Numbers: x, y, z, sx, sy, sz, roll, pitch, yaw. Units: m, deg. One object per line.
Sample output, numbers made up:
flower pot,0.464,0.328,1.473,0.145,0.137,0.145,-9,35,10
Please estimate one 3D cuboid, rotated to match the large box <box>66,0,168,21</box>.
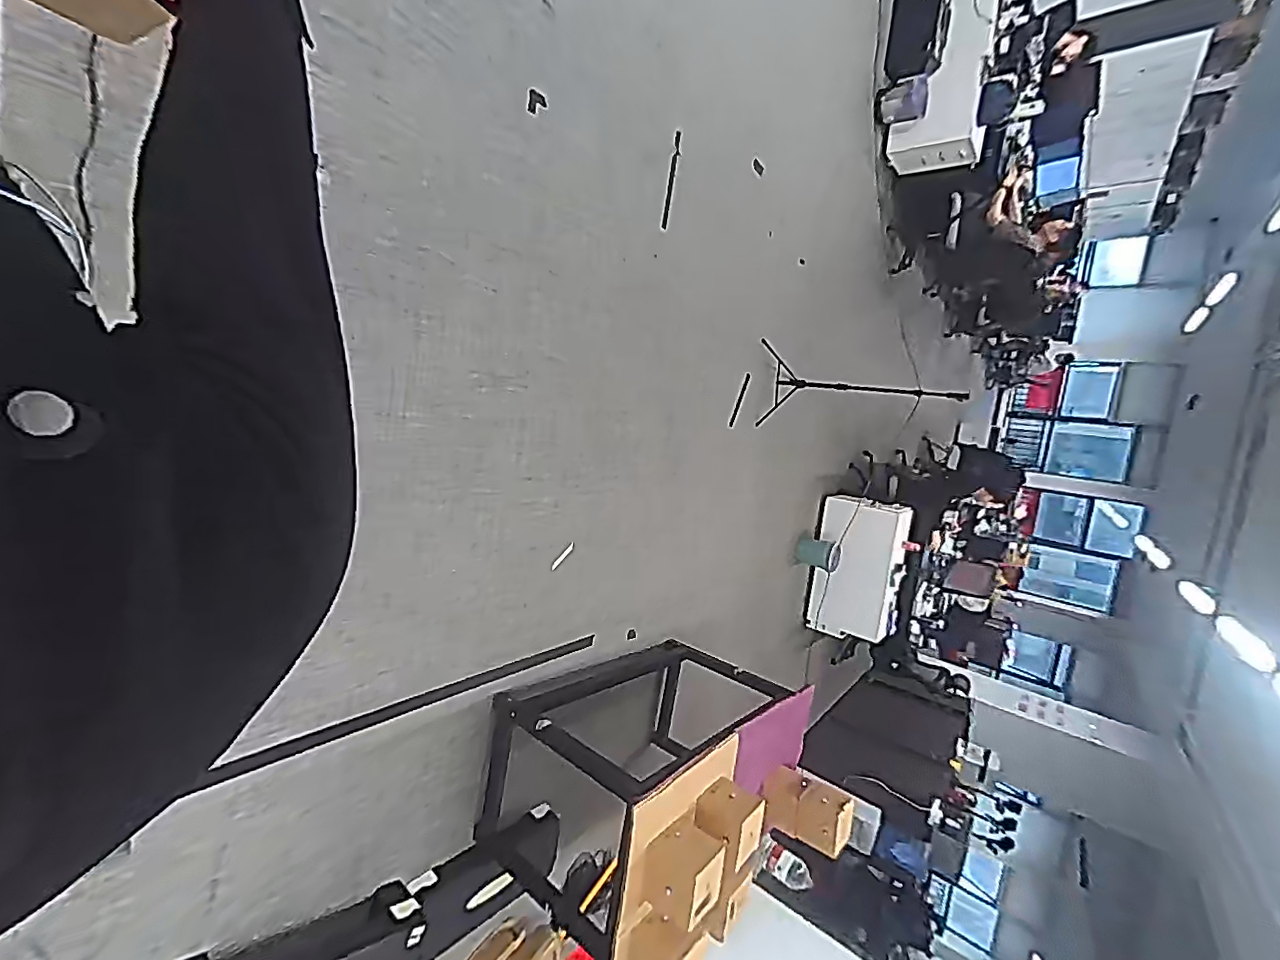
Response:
large box,-0.521,-0.572,0.308,0.408,0.320,0.320,-1,110,-53
